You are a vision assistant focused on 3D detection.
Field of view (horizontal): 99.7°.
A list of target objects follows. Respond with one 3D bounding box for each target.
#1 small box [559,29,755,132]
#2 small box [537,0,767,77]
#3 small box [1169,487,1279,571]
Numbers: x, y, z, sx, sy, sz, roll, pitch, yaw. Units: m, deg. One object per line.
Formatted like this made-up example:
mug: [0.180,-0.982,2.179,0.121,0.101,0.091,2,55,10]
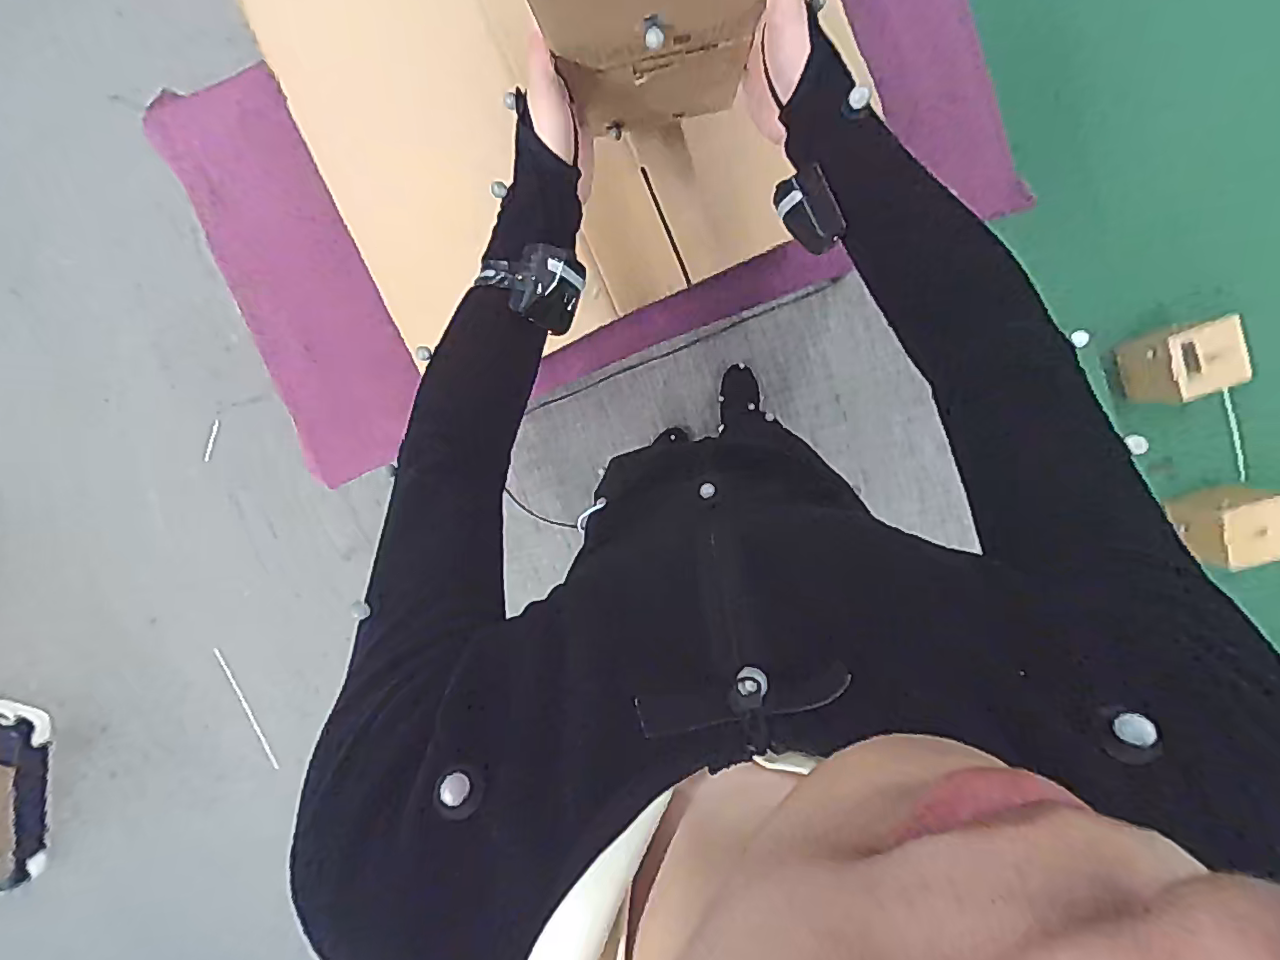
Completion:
small box: [0.008,-0.452,0.504,0.168,0.176,0.179,-8,106,5]
small box: [-0.002,-0.406,0.347,0.168,0.176,0.179,-8,107,6]
small box: [1.622,0.126,1.478,0.179,0.176,0.168,-17,97,6]
